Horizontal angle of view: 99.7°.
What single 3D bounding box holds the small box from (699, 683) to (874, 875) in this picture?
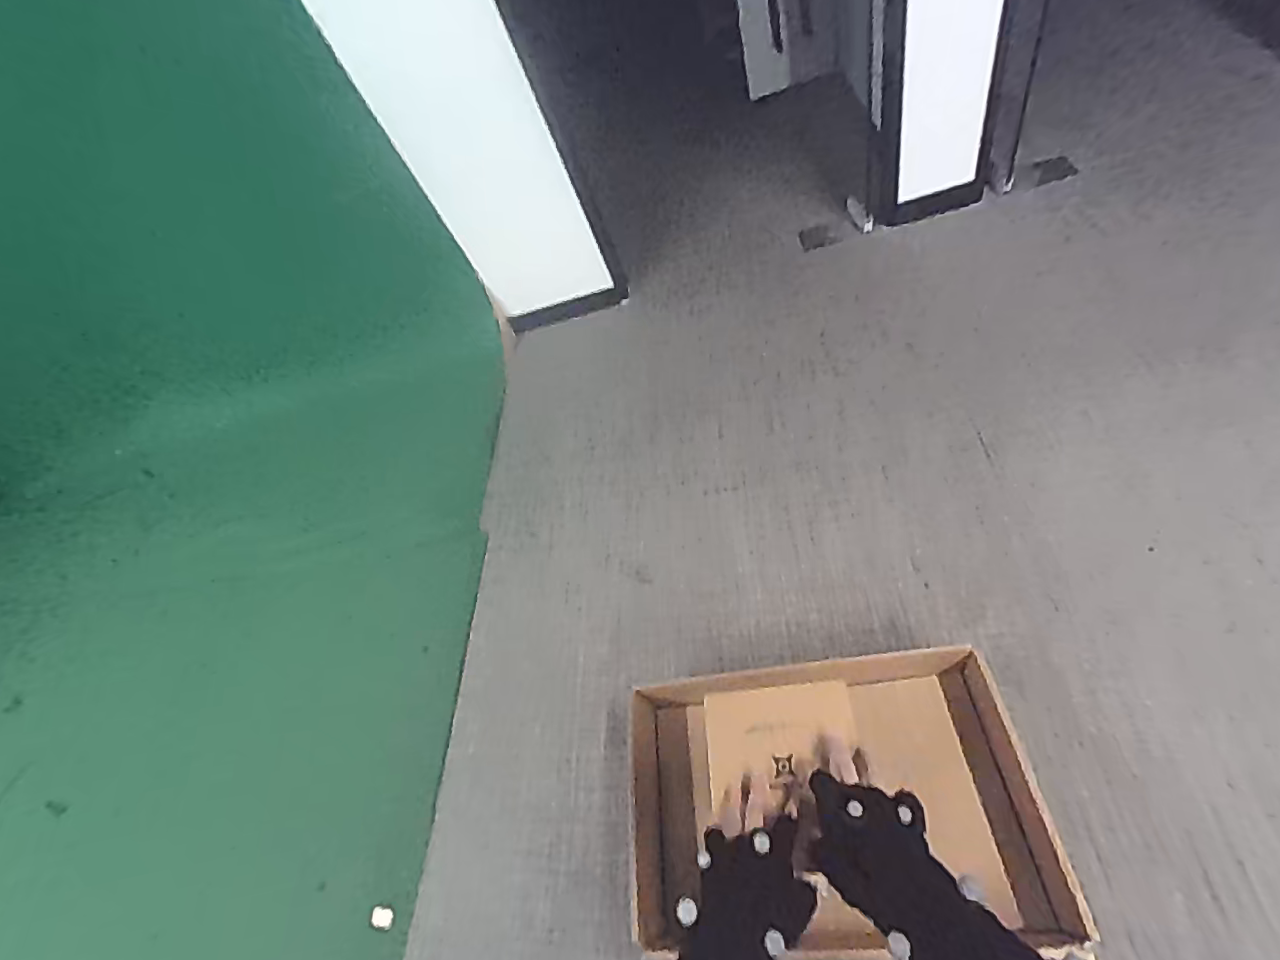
[{"bbox_3d":[0.174,0.363,0.647,0.168,0.176,0.179,-12,50,13],"label":"small box"}]
